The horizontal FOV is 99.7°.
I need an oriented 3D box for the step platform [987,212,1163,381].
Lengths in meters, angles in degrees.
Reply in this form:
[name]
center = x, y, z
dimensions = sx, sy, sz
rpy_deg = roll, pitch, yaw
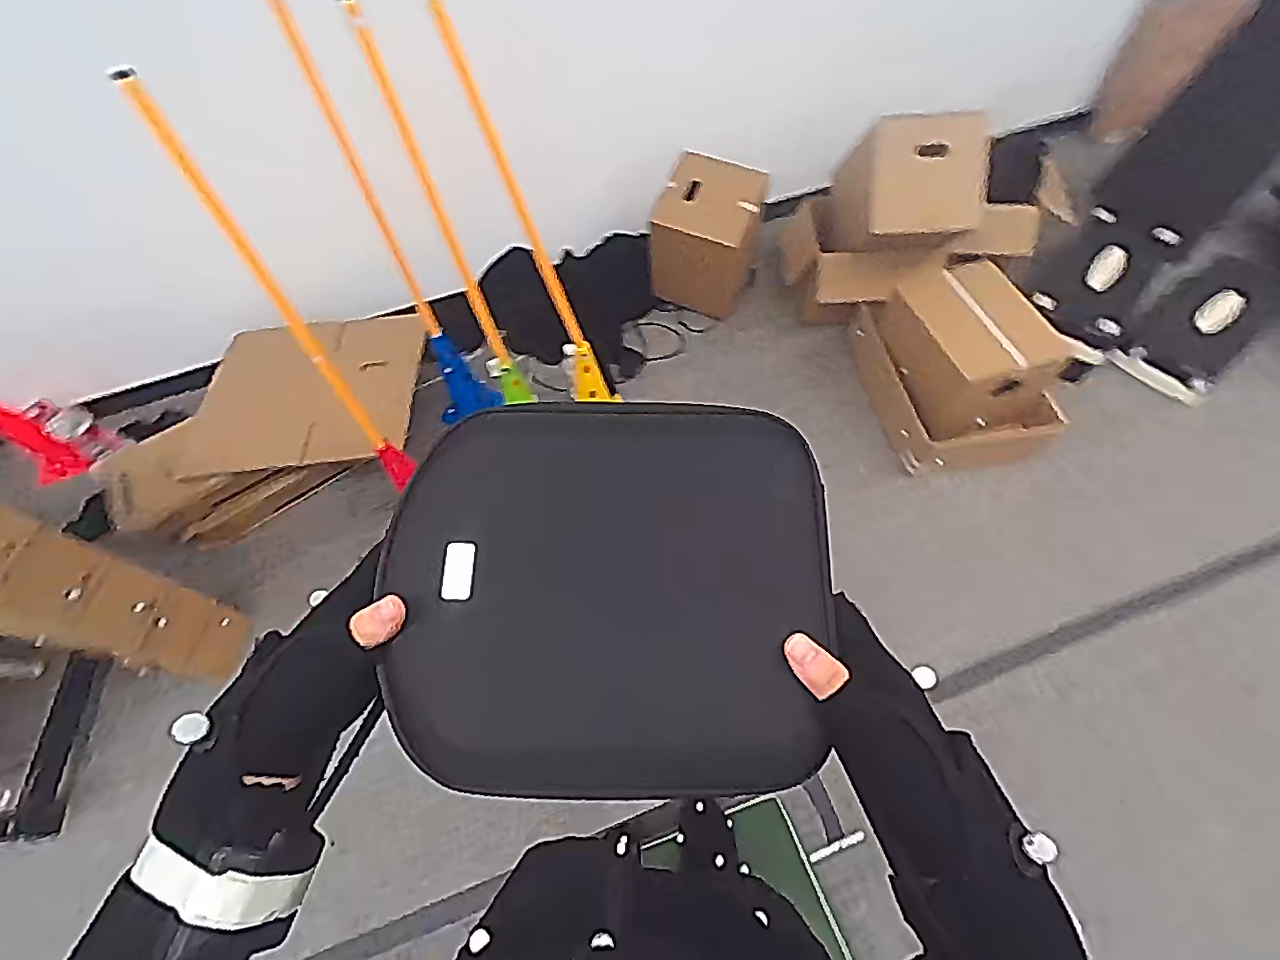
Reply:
[step platform]
center = 1.524, -0.658, 1.892
dimensions = 0.286, 0.204, 0.684
rpy_deg = 36, 69, 21
